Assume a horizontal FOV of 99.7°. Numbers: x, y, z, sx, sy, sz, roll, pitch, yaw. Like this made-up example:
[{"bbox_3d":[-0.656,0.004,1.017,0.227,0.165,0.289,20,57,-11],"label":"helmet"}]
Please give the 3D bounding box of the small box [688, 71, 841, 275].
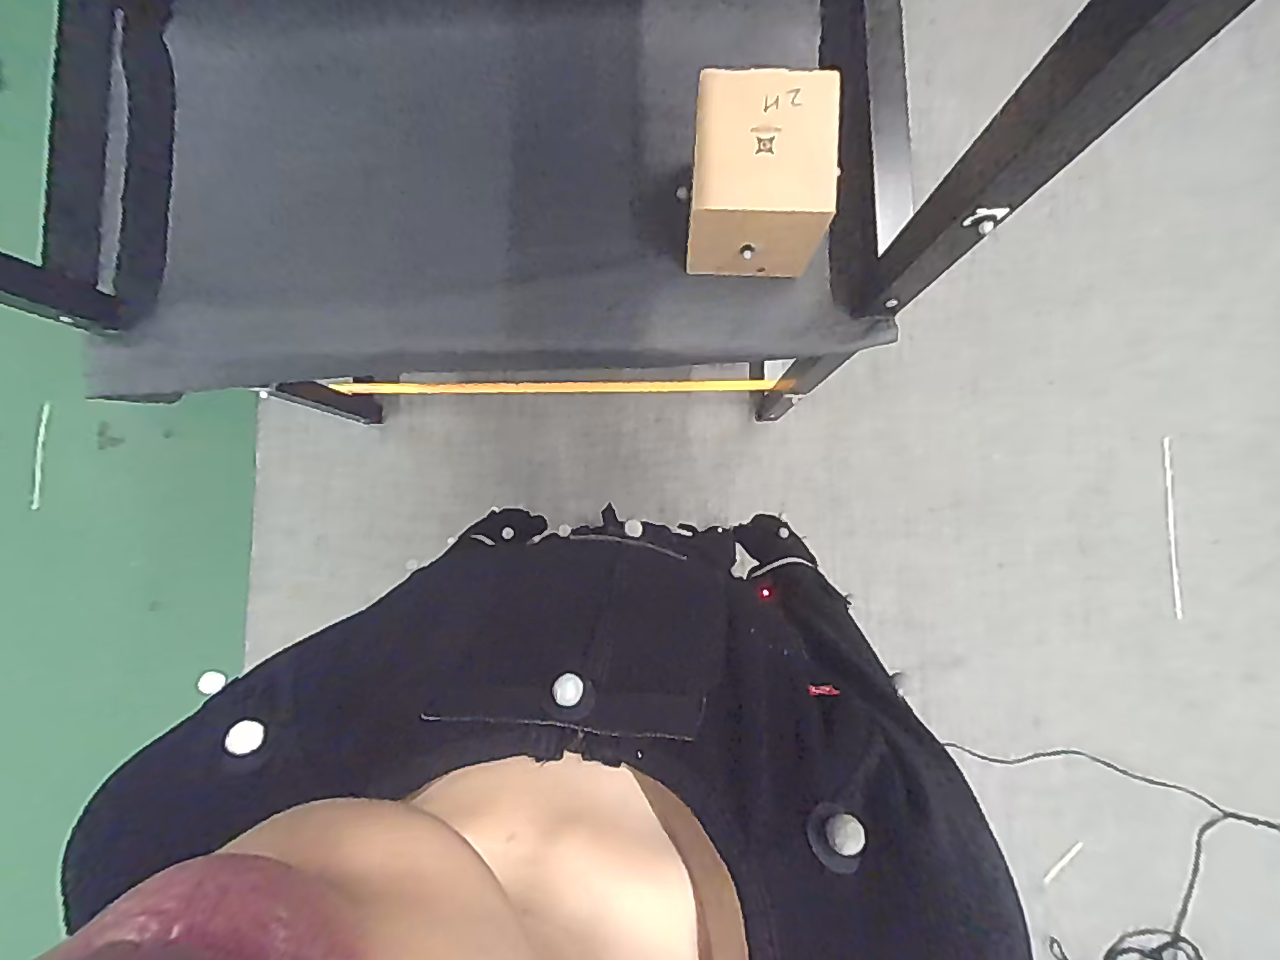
[{"bbox_3d":[0.152,-0.388,0.710,0.168,0.176,0.179,3,86,2],"label":"small box"}]
